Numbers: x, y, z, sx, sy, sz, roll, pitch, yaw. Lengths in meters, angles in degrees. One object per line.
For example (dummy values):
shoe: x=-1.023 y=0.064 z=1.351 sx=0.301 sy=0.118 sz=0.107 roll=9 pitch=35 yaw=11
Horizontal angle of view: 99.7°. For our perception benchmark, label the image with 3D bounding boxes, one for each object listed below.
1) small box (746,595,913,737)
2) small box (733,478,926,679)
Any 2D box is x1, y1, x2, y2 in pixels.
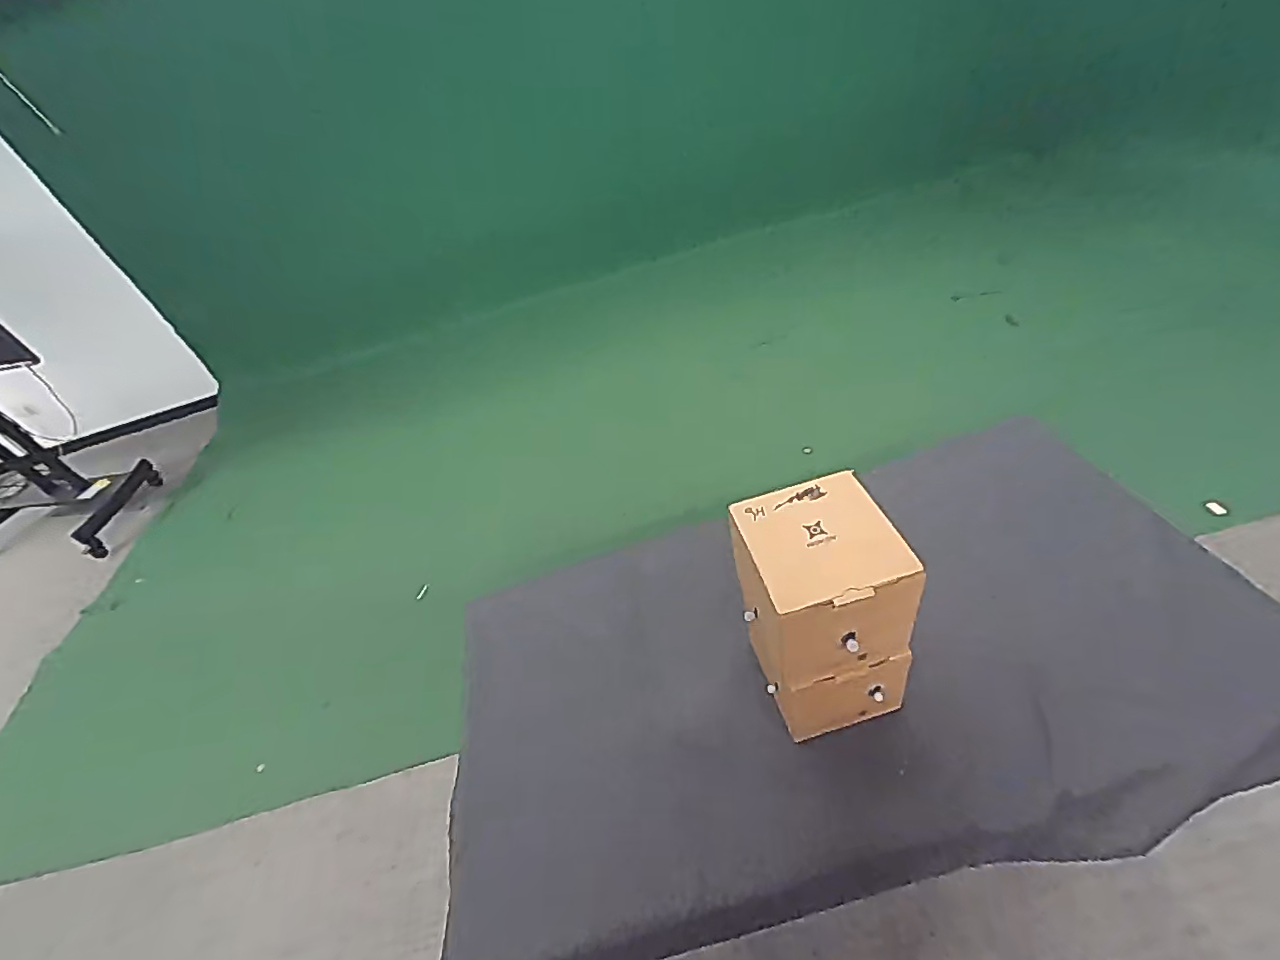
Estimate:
small box: x=0.269 y=0.251 z=0.794 sx=0.168 sy=0.176 sz=0.179 roll=-18 pitch=40 yaw=-2
small box: x=0.229 y=0.131 z=0.688 sx=0.168 sy=0.176 sz=0.179 roll=-16 pitch=43 yaw=-1
